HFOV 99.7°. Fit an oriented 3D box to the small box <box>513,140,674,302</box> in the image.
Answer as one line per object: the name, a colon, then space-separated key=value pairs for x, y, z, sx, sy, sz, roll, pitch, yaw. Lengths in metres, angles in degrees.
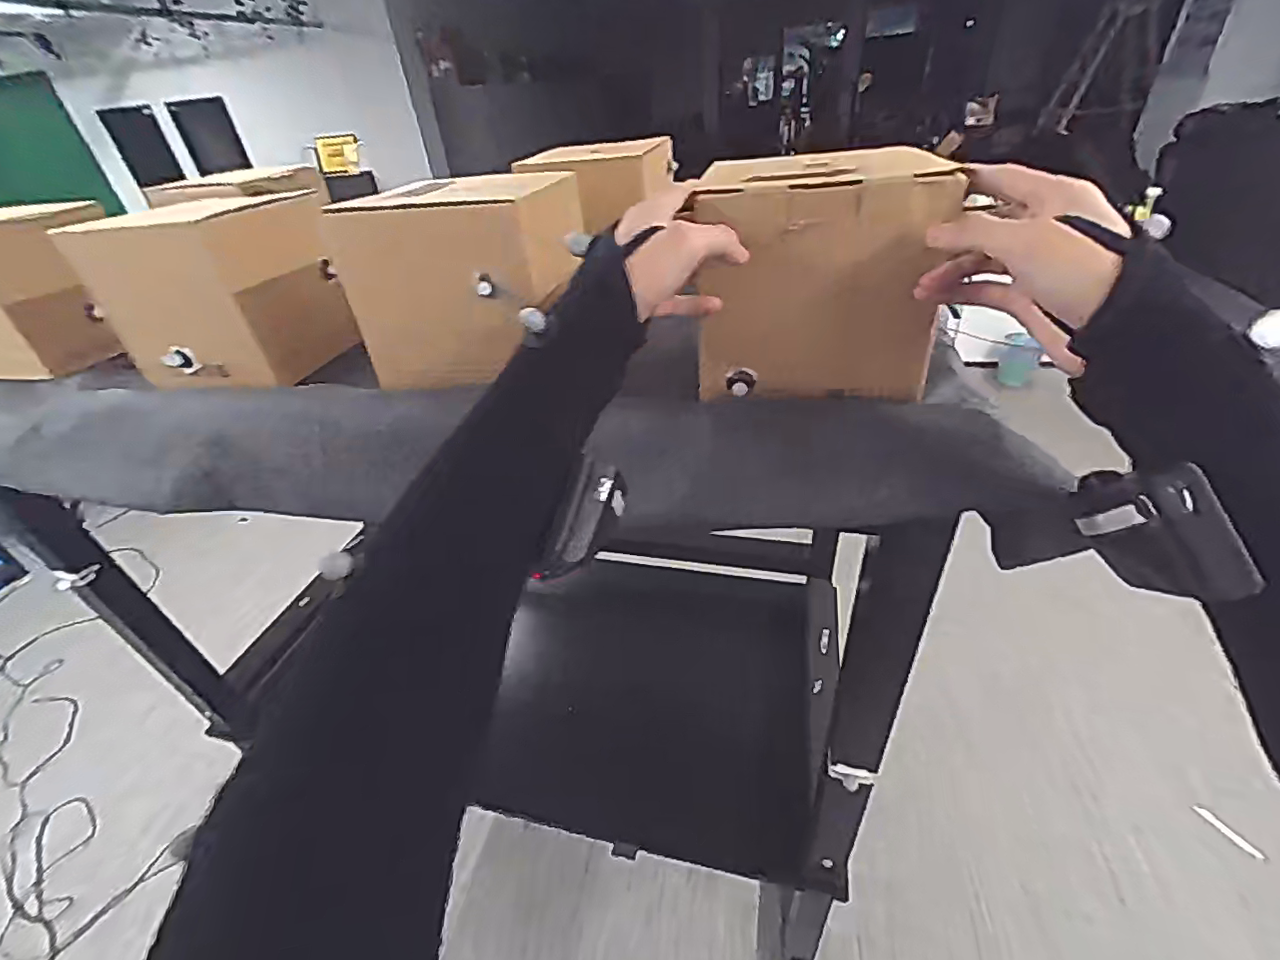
small box: x=-0.049 y=-0.353 z=0.745 sx=0.168 sy=0.176 sz=0.179 roll=3 pitch=37 yaw=14

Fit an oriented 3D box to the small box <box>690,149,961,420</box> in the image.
small box: x=0.137 y=-0.160 z=0.446 sx=0.168 sy=0.176 sz=0.179 roll=2 pitch=35 yaw=12

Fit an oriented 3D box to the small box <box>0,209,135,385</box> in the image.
small box: x=-0.762 y=-0.226 z=0.671 sx=0.179 sy=0.176 sz=0.168 roll=3 pitch=36 yaw=11

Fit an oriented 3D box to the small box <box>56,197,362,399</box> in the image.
small box: x=-0.439 y=-0.202 z=0.594 sx=0.168 sy=0.176 sz=0.179 roll=1 pitch=35 yaw=11

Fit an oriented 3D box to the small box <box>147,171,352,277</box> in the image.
small box: x=-0.611 y=-0.388 z=0.875 sx=0.179 sy=0.176 sz=0.168 roll=4 pitch=37 yaw=12
